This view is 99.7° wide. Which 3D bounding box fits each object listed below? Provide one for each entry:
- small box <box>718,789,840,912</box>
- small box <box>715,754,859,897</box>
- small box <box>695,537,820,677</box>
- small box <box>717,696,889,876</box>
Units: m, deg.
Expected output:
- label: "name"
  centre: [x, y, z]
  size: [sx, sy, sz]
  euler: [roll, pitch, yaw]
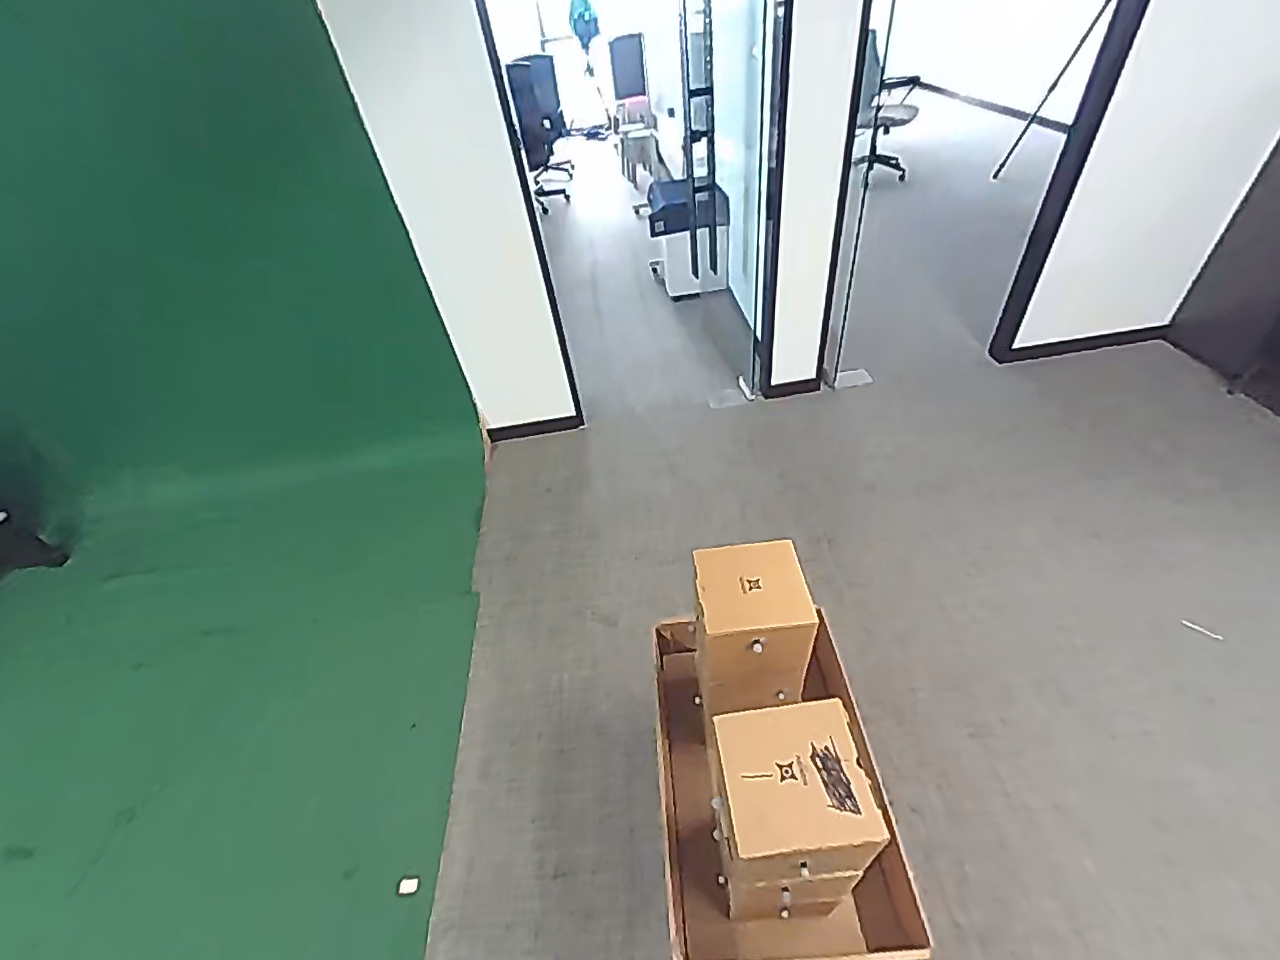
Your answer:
- label: "small box"
  centre: [0.234, 0.648, 0.956]
  size: [0.179, 0.176, 0.168]
  euler: [-4, 44, 3]
- label: "small box"
  centre: [0.218, 0.531, 0.842]
  size: [0.179, 0.176, 0.168]
  euler: [-7, 45, 3]
- label: "small box"
  centre: [0.190, 0.220, 0.930]
  size: [0.179, 0.176, 0.168]
  euler: [-7, 45, 2]
- label: "small box"
  centre: [0.201, 0.413, 0.728]
  size: [0.179, 0.176, 0.168]
  euler: [-8, 45, 1]
